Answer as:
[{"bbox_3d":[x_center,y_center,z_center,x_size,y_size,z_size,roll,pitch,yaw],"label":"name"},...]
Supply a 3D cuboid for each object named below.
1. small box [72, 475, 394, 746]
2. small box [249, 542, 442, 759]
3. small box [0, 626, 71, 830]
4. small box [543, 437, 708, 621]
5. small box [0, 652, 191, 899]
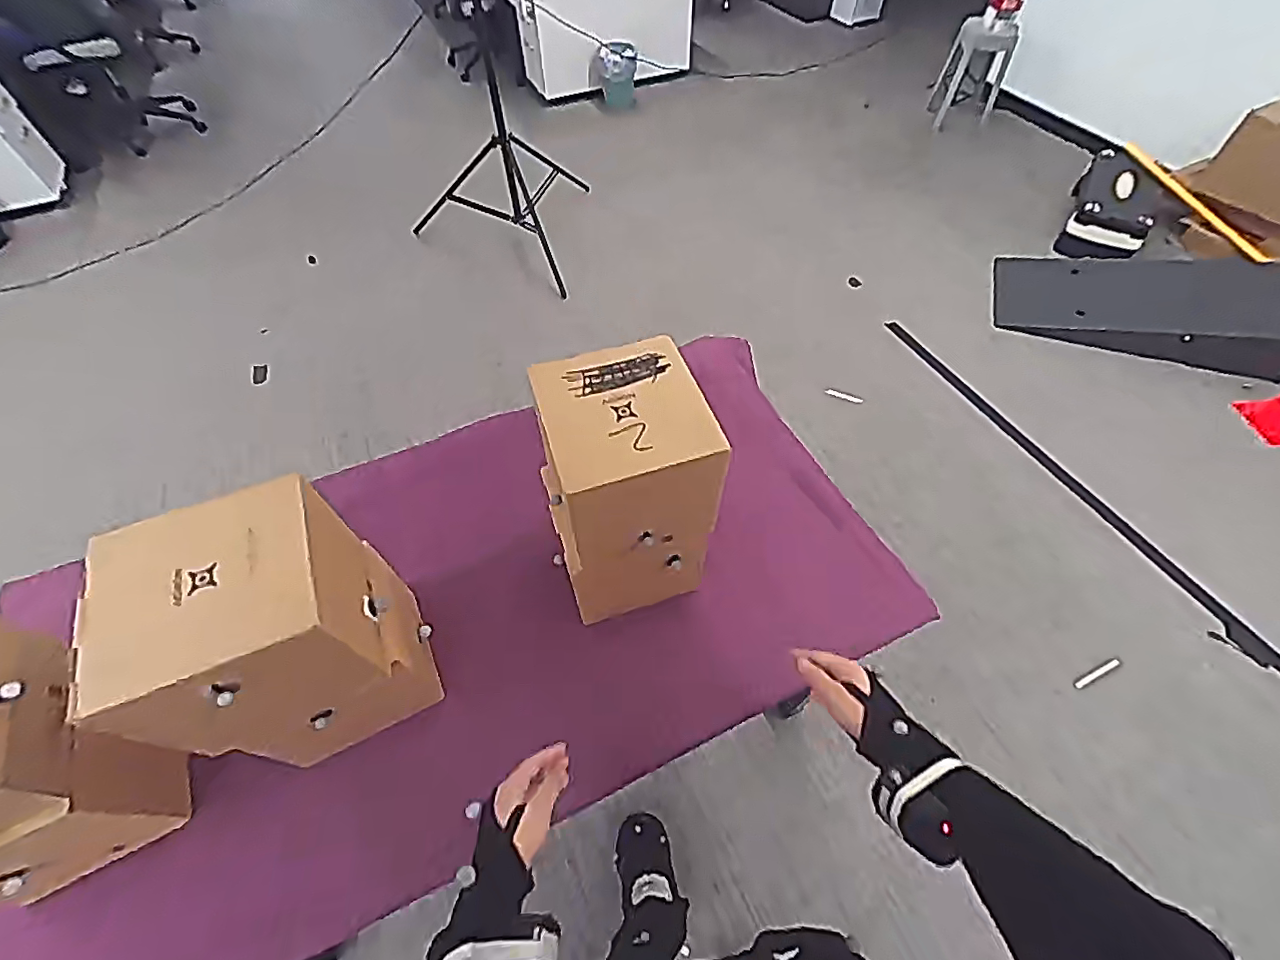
[{"bbox_3d":[-0.364,0.130,0.516,0.179,0.176,0.168,-21,59,-14],"label":"small box"},{"bbox_3d":[-0.367,0.211,0.656,0.179,0.176,0.168,-23,58,-15],"label":"small box"},{"bbox_3d":[-0.642,0.225,0.453,0.179,0.176,0.168,-26,58,-17],"label":"small box"},{"bbox_3d":[-0.022,0.072,0.747,0.179,0.176,0.168,-16,56,-9],"label":"small box"},{"bbox_3d":[-0.631,0.322,0.586,0.168,0.176,0.179,-25,58,-15],"label":"small box"}]
